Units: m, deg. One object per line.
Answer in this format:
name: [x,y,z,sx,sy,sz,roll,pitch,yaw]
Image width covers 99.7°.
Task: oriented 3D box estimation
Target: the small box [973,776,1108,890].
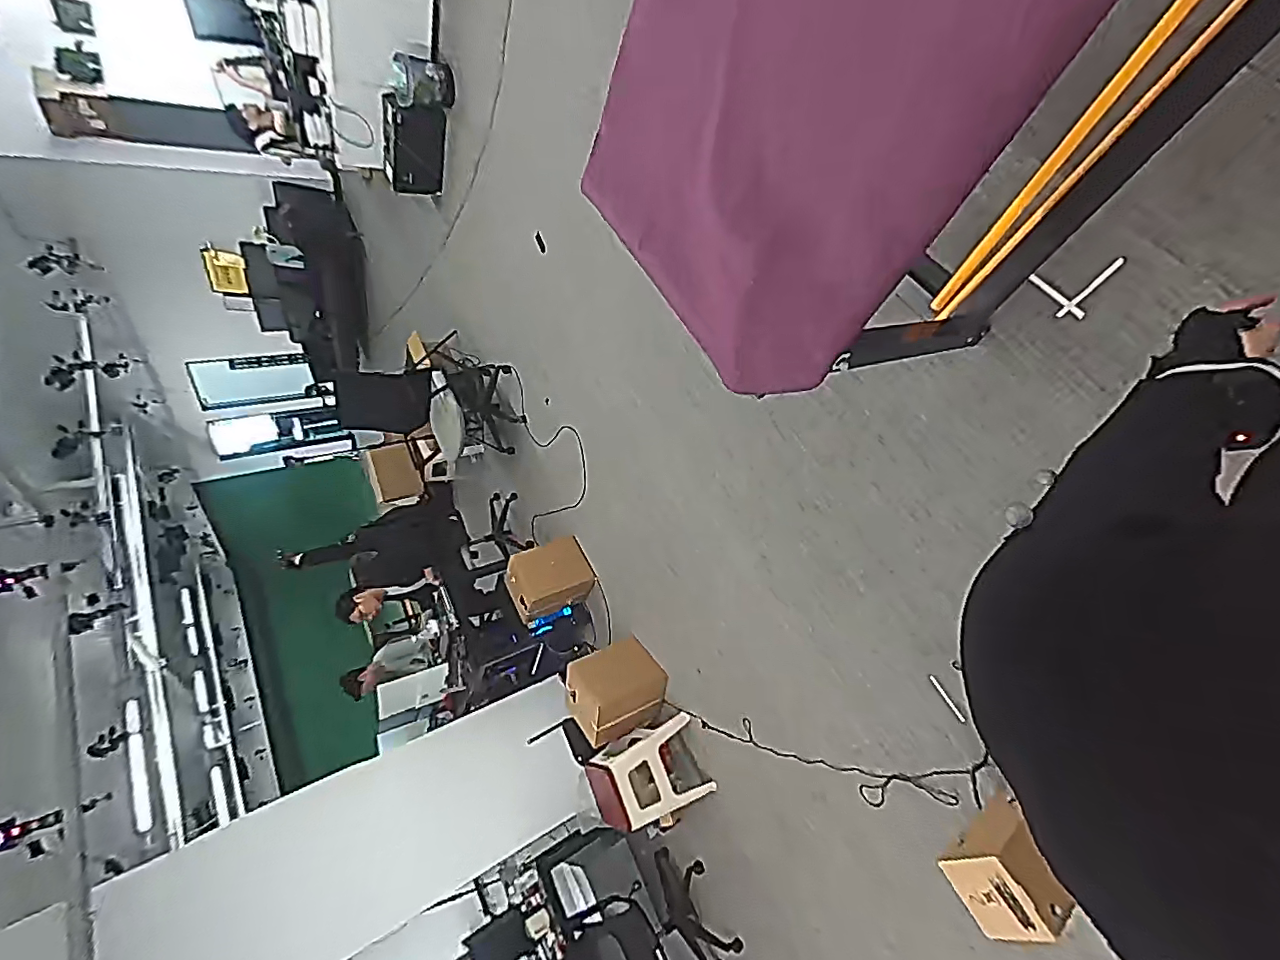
small box: [0.966,0.850,1.306,0.168,0.176,0.179,57,142,24]
